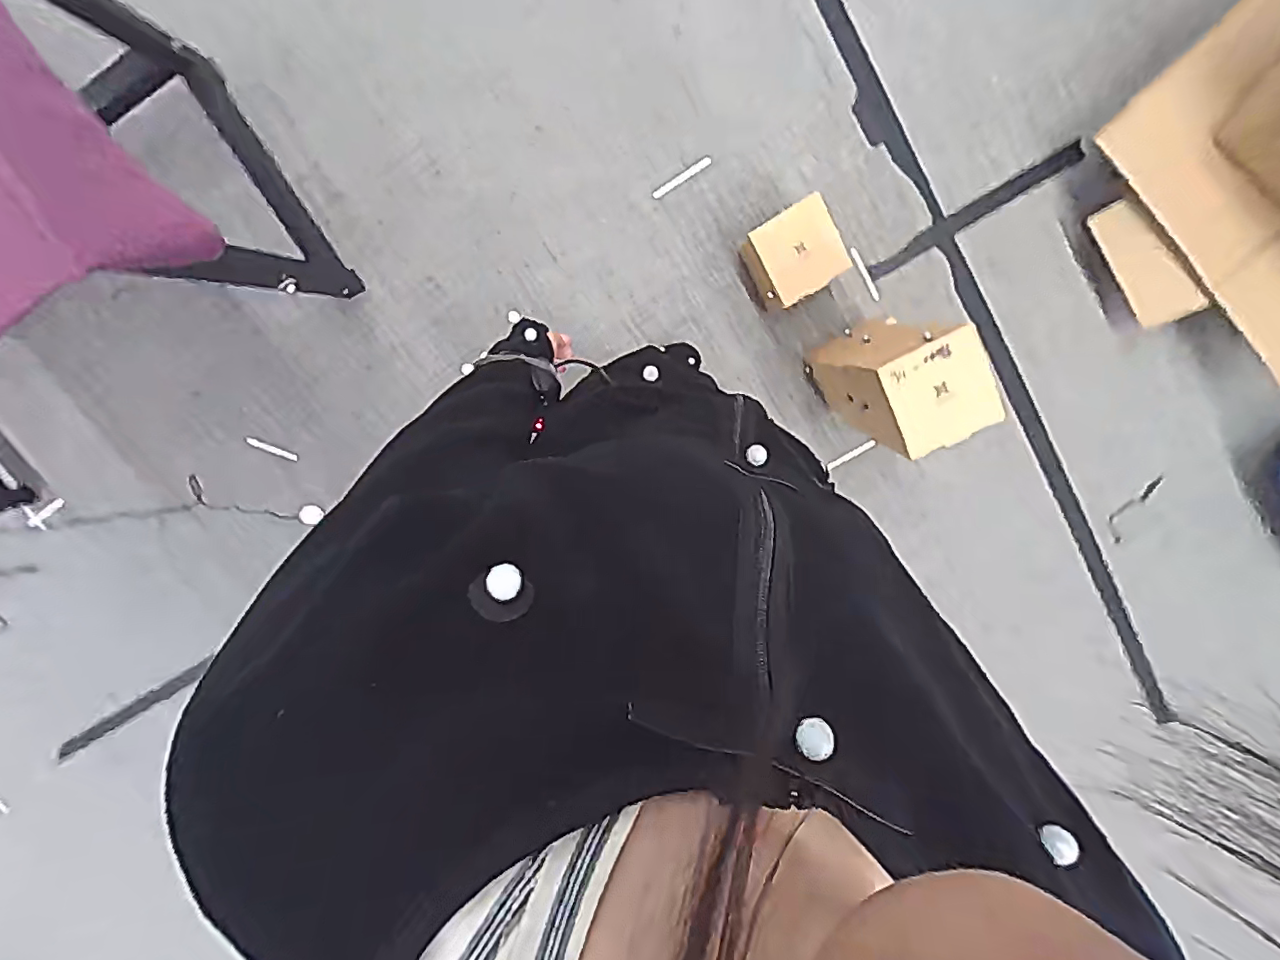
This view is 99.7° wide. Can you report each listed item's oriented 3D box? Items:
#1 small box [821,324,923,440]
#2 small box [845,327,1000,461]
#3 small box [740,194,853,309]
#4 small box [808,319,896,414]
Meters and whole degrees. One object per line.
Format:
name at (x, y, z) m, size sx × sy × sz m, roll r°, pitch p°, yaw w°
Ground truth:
small box at (0.503, -0.207, 1.128) m, size 0.168 × 0.176 × 0.179 m, roll -28°, pitch 104°, yaw 9°
small box at (0.497, -0.161, 0.971) m, size 0.168 × 0.176 × 0.179 m, roll -25°, pitch 105°, yaw 8°
small box at (0.343, -0.503, 1.221) m, size 0.168 × 0.176 × 0.179 m, roll -30°, pitch 103°, yaw 8°
small box at (0.519, -0.263, 1.283) m, size 0.179 × 0.176 × 0.168 m, roll -31°, pitch 103°, yaw 8°
